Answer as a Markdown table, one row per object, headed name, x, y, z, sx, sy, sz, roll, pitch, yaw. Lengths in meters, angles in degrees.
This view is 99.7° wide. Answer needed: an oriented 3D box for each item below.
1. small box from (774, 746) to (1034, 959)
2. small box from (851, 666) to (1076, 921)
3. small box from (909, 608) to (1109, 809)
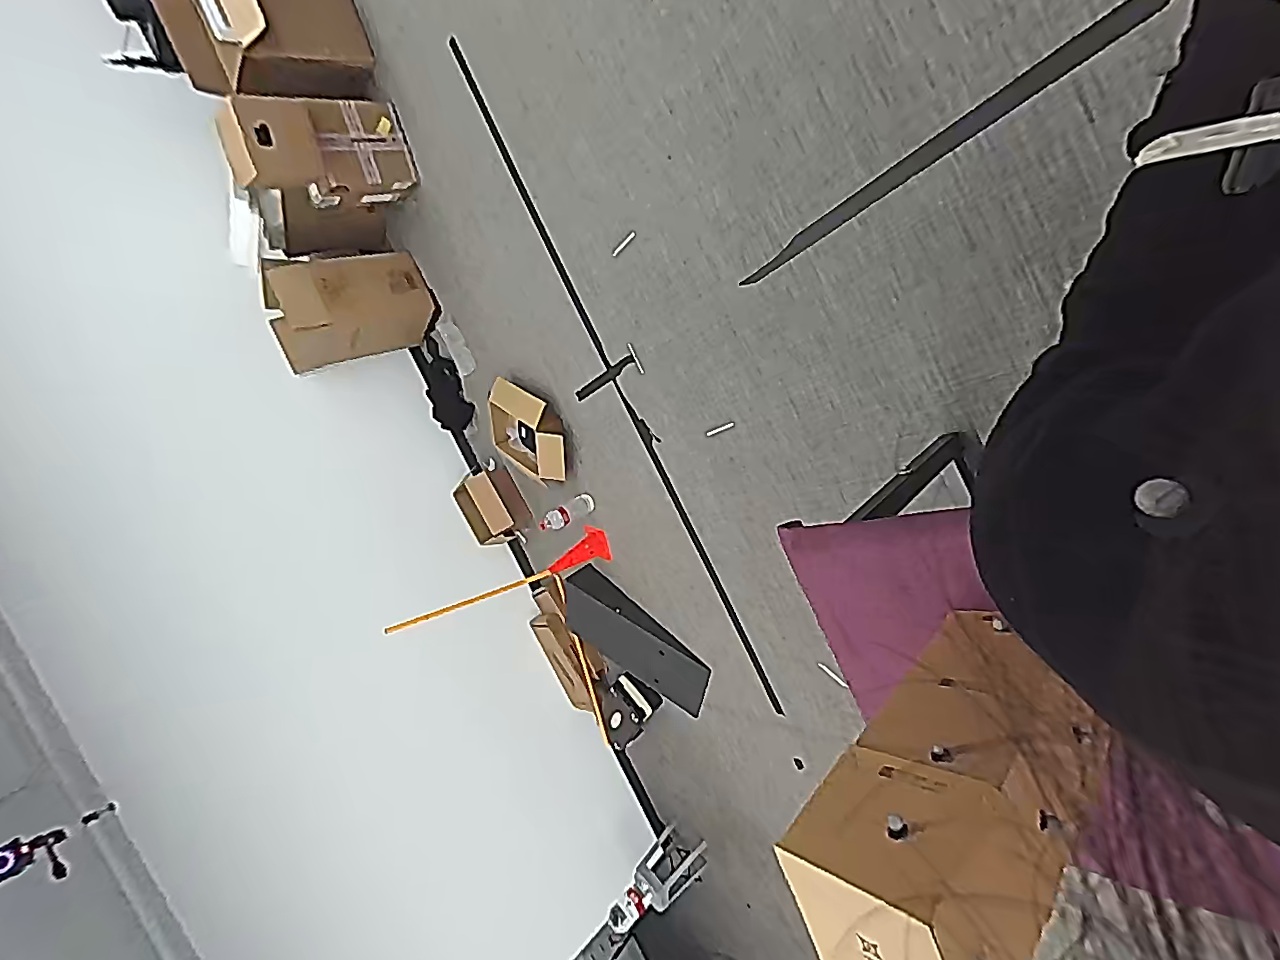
| name | x | y | z | sx | sy | sz | roll | pitch | yaw |
| --- | --- | --- | --- | --- | --- | --- | --- | --- | --- |
| small box | 0.277 | 0.418 | 0.566 | 0.168 | 0.176 | 0.179 | -13 | 103 | 53 |
| small box | 0.397 | 0.361 | 0.661 | 0.168 | 0.176 | 0.179 | -12 | 104 | 53 |
| small box | 0.517 | 0.302 | 0.756 | 0.168 | 0.176 | 0.179 | -16 | 100 | 54 |
